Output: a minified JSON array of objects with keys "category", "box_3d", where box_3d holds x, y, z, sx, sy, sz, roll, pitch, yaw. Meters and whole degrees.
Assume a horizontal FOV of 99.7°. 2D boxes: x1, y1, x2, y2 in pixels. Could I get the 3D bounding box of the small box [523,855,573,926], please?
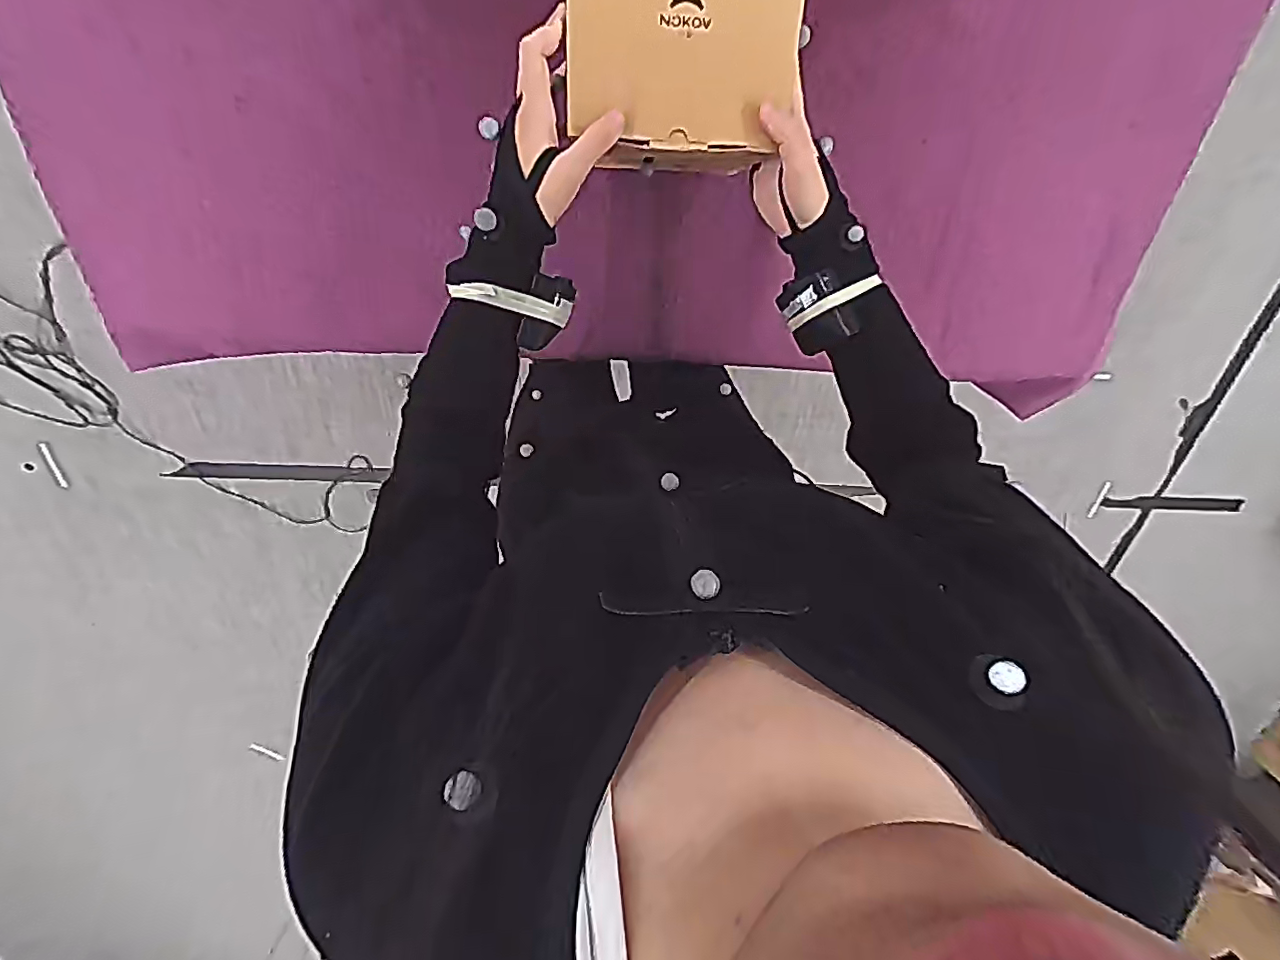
[{"category":"small box","box_3d":[-0.344,1.556,2.054,0.179,0.176,0.168,1,118,-4]}]
